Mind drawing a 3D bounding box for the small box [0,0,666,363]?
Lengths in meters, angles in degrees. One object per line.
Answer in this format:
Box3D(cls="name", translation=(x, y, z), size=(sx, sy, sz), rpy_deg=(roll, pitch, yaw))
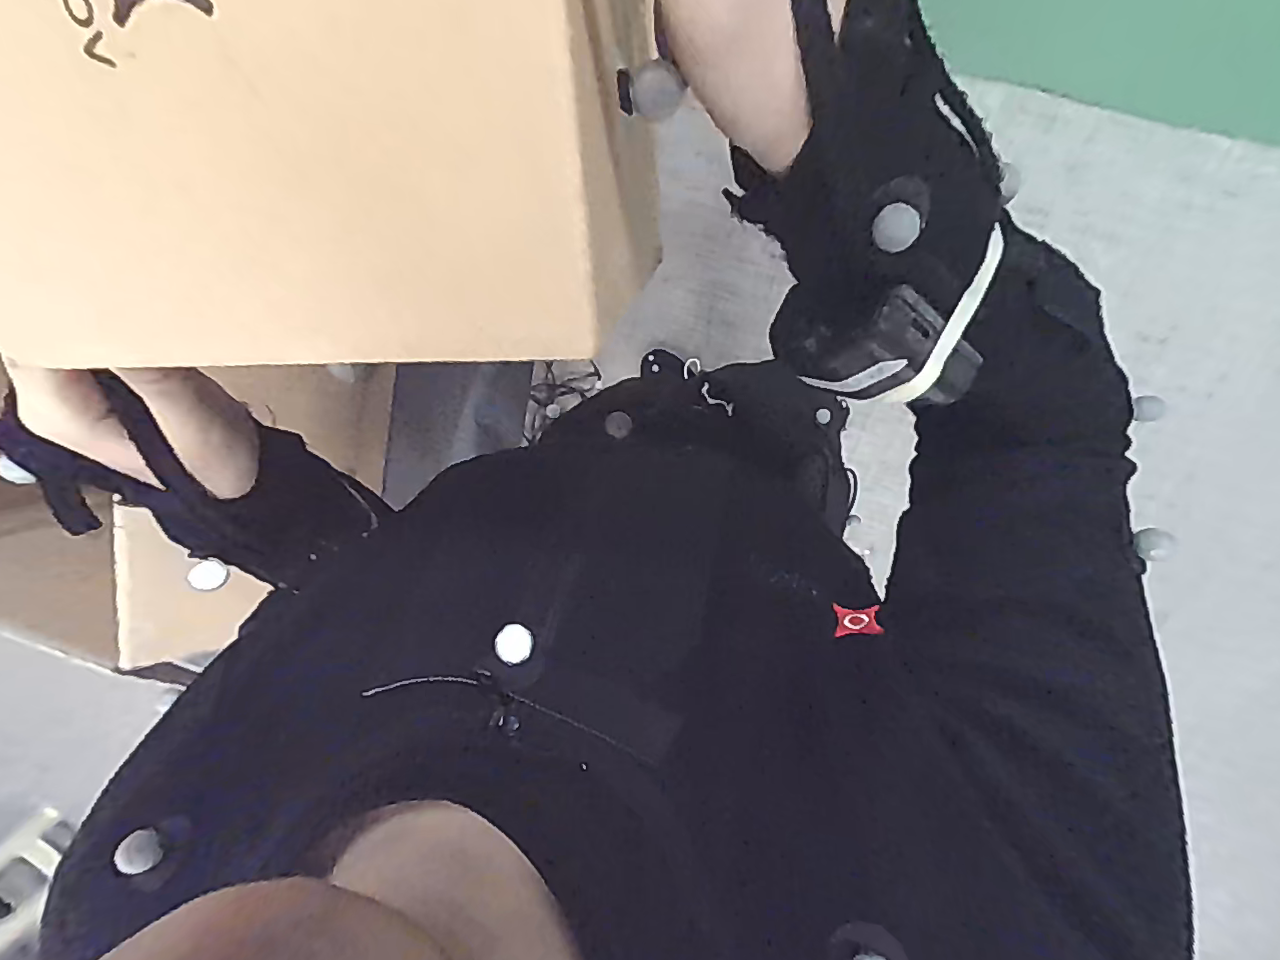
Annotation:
Box3D(cls="small box", translation=(-0.083, -0.142, 0.170), size=(0.179, 0.176, 0.168), rpy_deg=(2, 120, 9))
